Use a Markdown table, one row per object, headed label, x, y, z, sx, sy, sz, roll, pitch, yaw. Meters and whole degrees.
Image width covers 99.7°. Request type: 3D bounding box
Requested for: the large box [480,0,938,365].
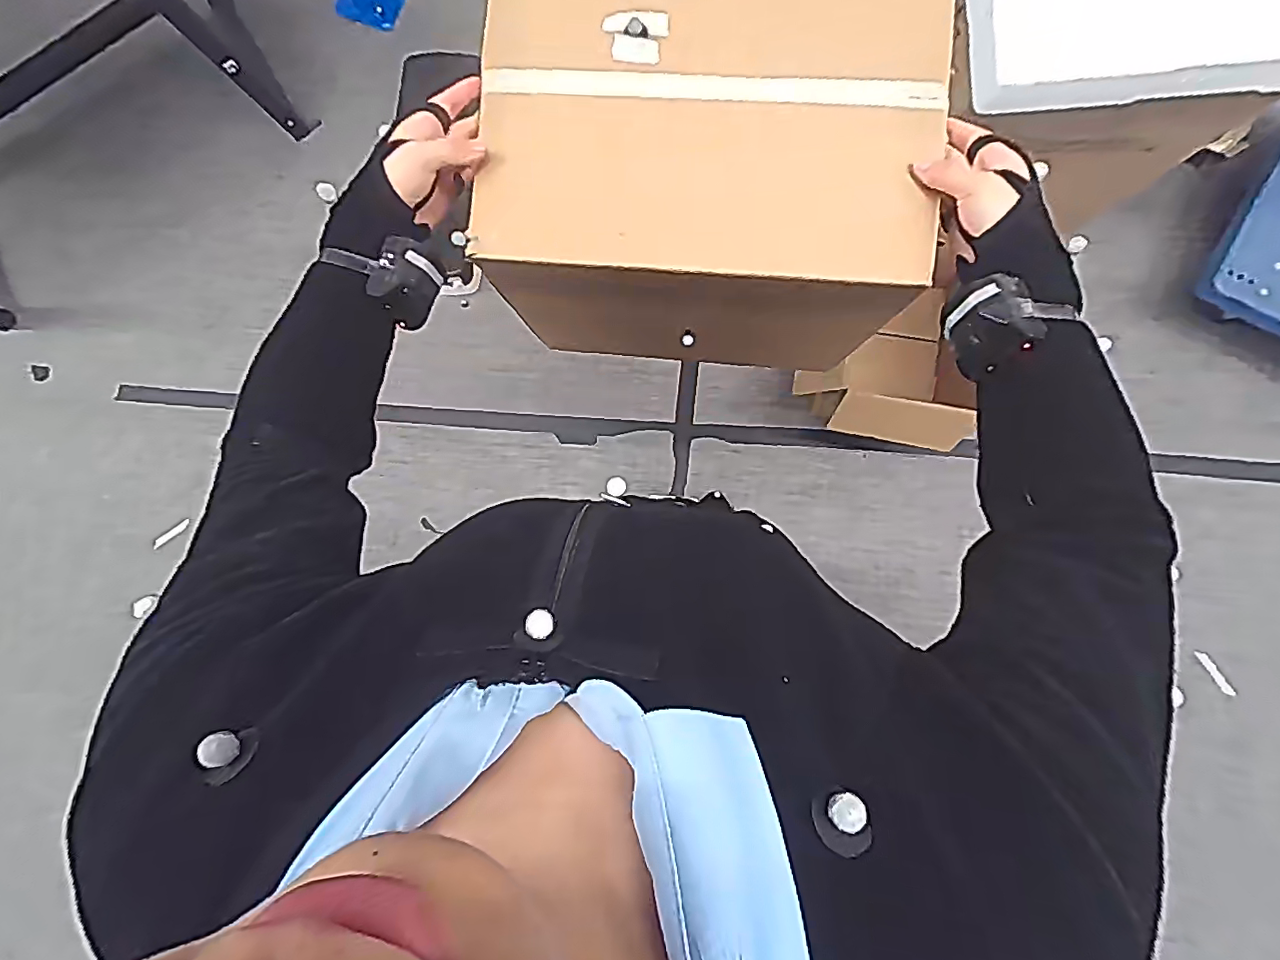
| label | x | y | z | sx | sy | sz | roll | pitch | yaw |
| --- | --- | --- | --- | --- | --- | --- | --- | --- | --- |
| large box | 0.072 | -0.328 | 0.636 | 0.408 | 0.320 | 0.320 | 4 | 87 | 4 |
